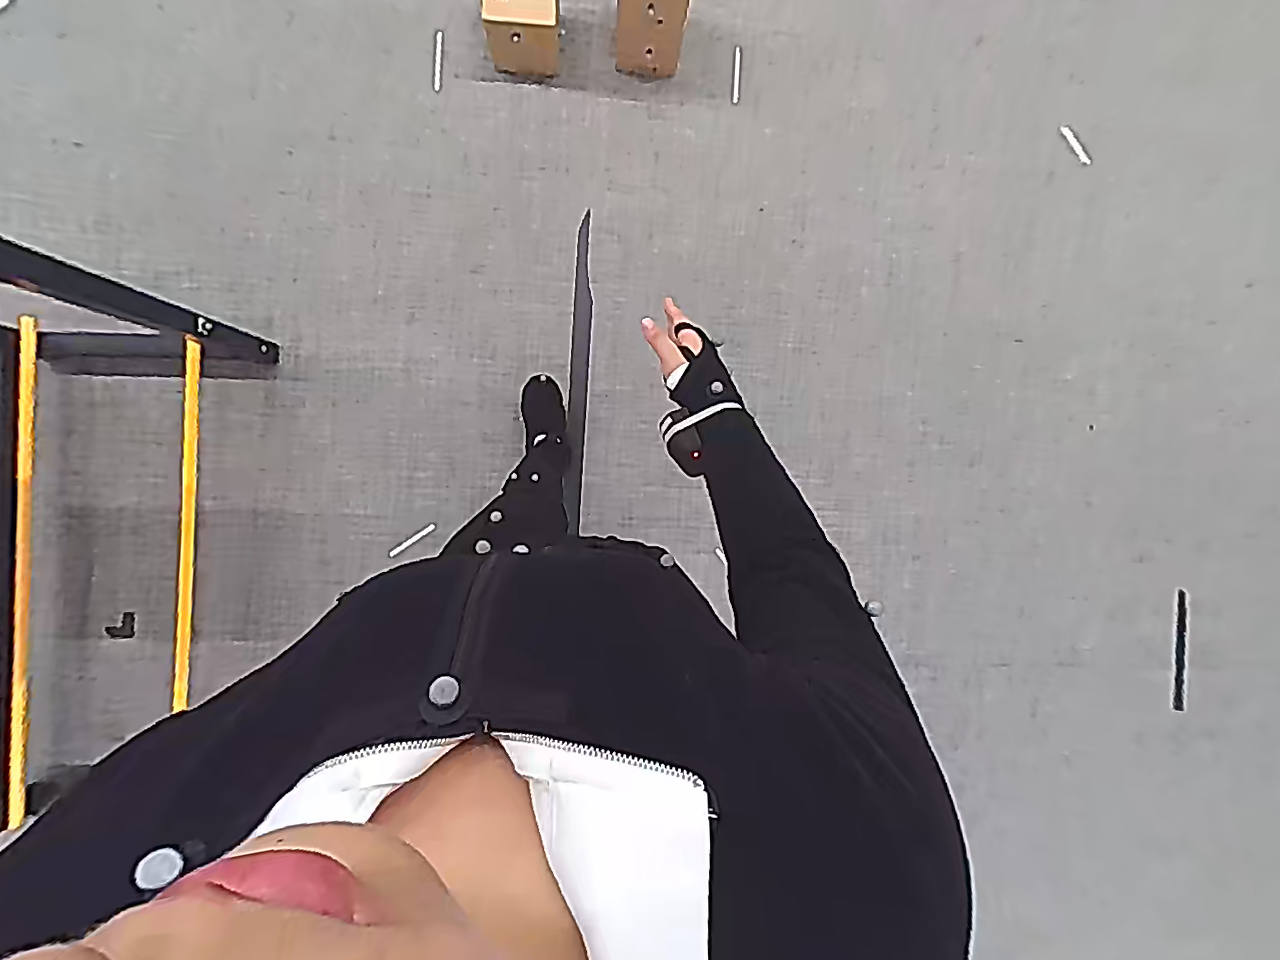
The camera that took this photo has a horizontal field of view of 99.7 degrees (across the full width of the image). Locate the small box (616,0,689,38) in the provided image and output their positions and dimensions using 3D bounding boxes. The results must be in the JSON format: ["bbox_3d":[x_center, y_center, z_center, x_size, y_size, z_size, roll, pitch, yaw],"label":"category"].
[{"bbox_3d":[0.034,-1.170,1.232,0.168,0.176,0.179,4,91,-4],"label":"small box"}]

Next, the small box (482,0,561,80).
[{"bbox_3d":[-0.295,-1.156,1.370,0.179,0.176,0.168,0,91,-5],"label":"small box"}]

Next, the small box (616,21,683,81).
[{"bbox_3d":[0.024,-1.179,1.398,0.168,0.176,0.179,2,91,-4],"label":"small box"}]
